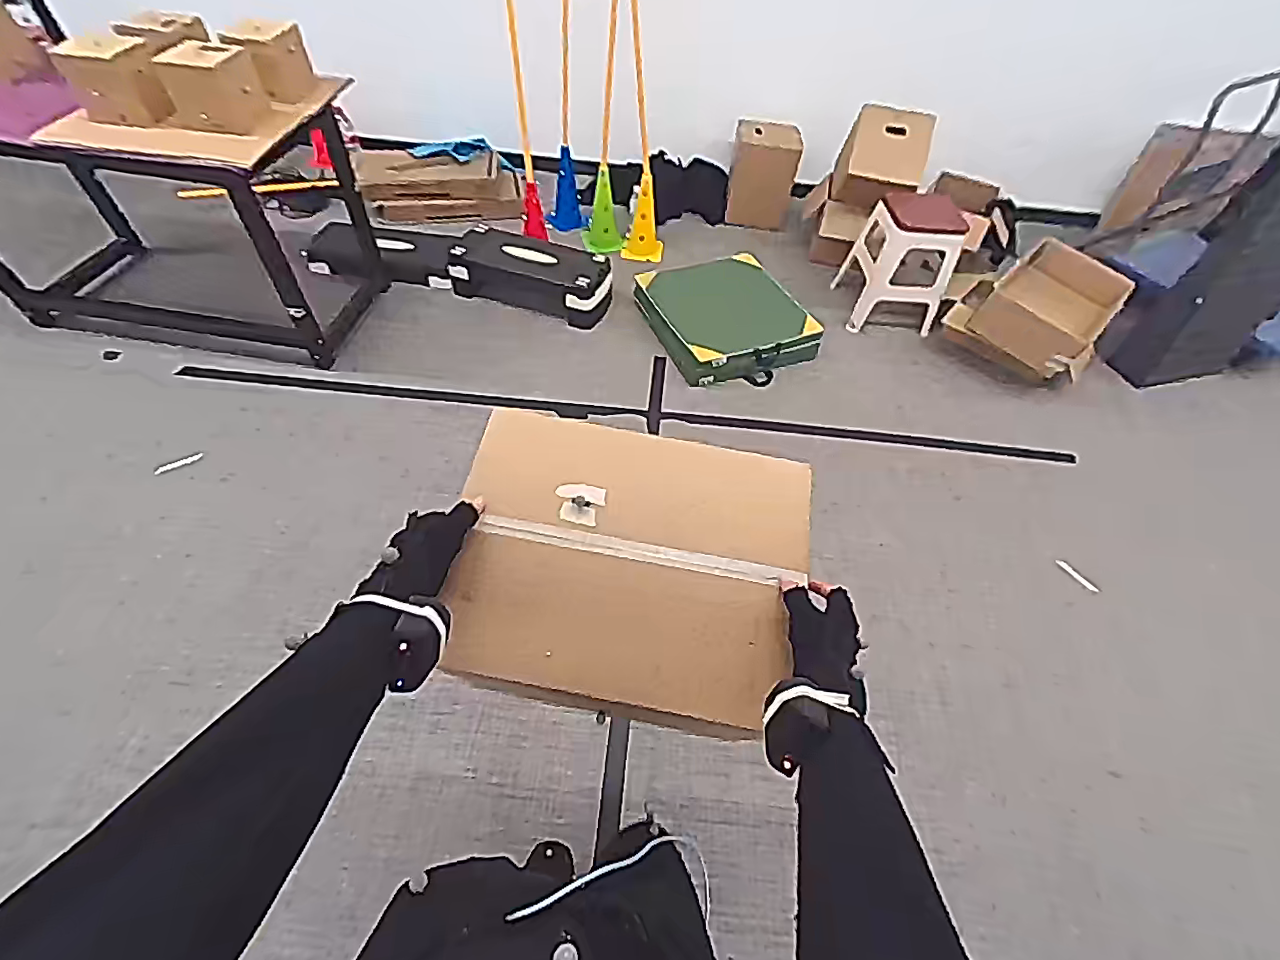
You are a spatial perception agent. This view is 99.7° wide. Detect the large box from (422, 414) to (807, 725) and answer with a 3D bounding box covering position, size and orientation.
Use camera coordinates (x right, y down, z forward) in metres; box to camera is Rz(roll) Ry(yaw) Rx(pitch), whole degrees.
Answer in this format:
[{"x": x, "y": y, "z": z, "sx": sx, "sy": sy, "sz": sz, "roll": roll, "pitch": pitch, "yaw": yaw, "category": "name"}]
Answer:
[{"x": -0.014, "y": 0.145, "z": 0.759, "sx": 0.408, "sy": 0.320, "sz": 0.320, "roll": 11, "pitch": 64, "yaw": 2, "category": "large box"}]
